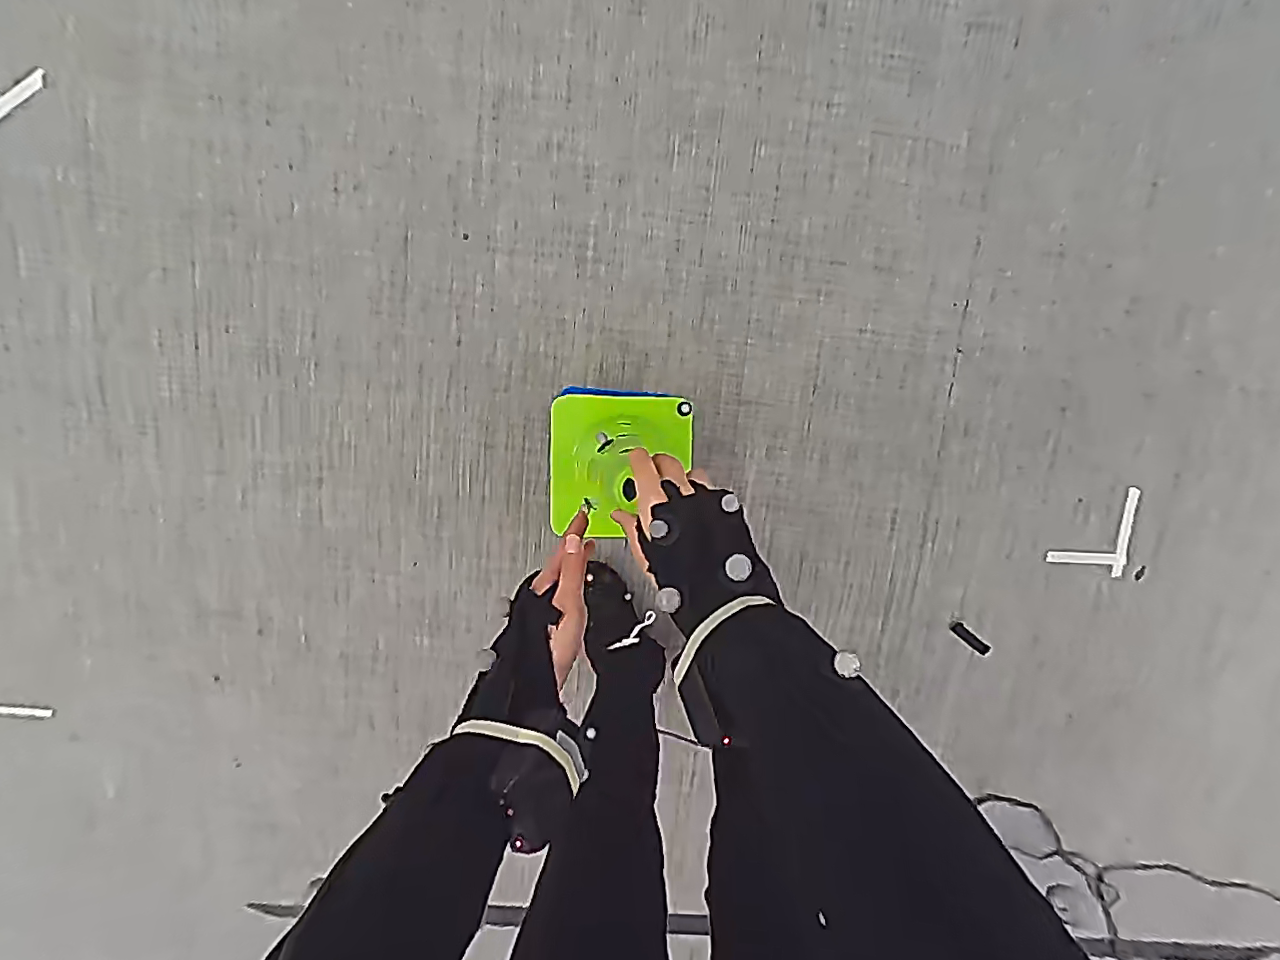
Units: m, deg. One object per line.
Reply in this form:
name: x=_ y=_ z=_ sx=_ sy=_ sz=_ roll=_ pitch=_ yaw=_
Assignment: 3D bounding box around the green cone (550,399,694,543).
green cone: x=-0.012 y=0.001 z=0.587 sx=0.200 sy=0.368 sz=0.202 roll=-1 pitch=95 yaw=-4
